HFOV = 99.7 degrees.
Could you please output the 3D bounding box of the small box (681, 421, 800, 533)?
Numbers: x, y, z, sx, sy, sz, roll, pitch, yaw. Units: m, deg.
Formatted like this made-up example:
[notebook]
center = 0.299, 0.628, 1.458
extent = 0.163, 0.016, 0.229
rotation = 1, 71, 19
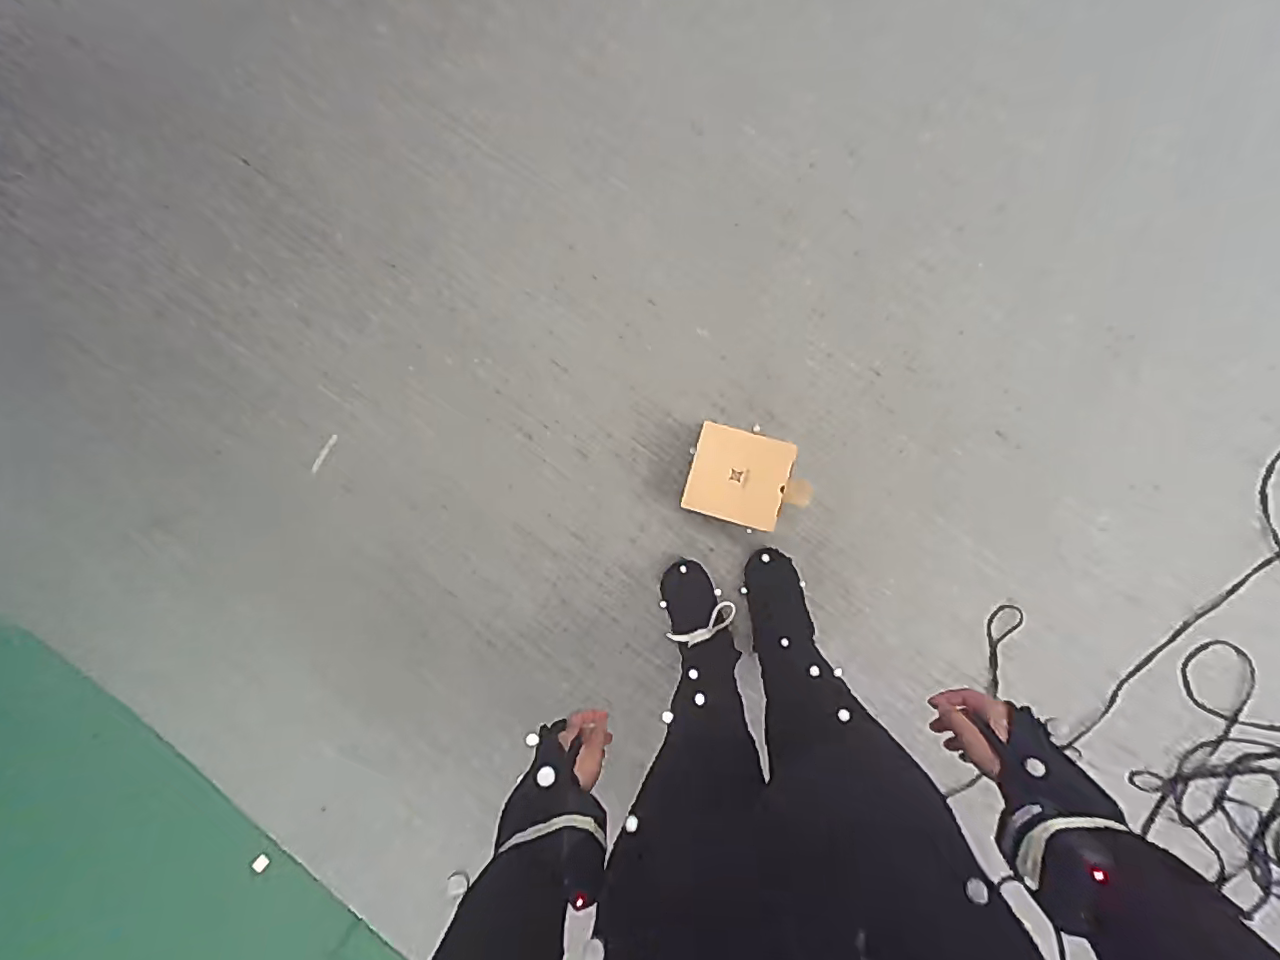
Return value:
[small box]
center = 0.189, -0.008, 1.048
extent = 0.179, 0.176, 0.168
rotation = 16, 95, 6
